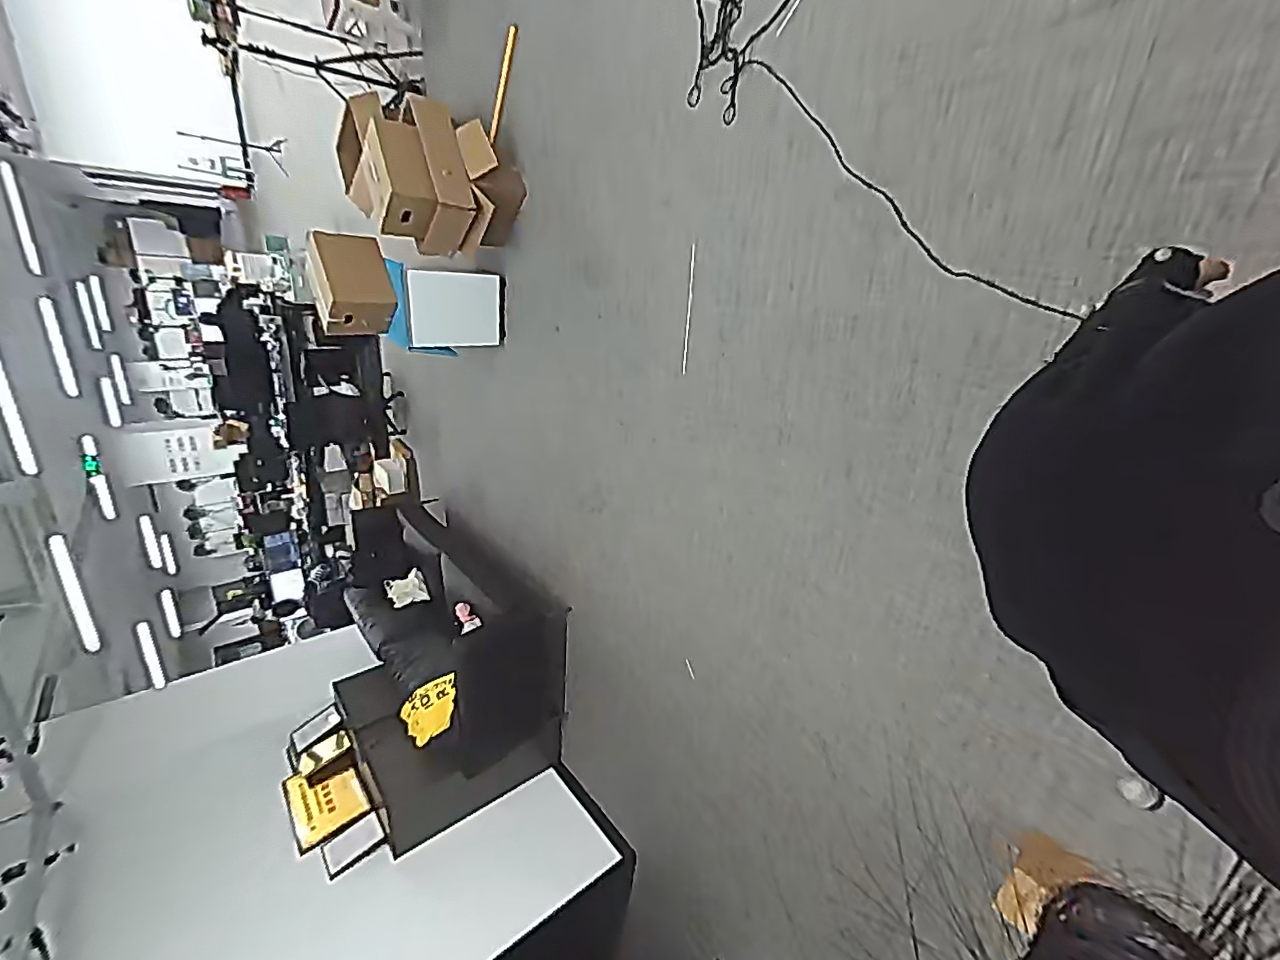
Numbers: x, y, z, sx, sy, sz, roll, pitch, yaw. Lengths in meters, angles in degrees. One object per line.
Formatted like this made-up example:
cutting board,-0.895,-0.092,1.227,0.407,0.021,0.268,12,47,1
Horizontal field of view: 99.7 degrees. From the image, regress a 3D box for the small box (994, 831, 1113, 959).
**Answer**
small box,1.047,1.047,1.368,0.179,0.176,0.168,31,123,43
